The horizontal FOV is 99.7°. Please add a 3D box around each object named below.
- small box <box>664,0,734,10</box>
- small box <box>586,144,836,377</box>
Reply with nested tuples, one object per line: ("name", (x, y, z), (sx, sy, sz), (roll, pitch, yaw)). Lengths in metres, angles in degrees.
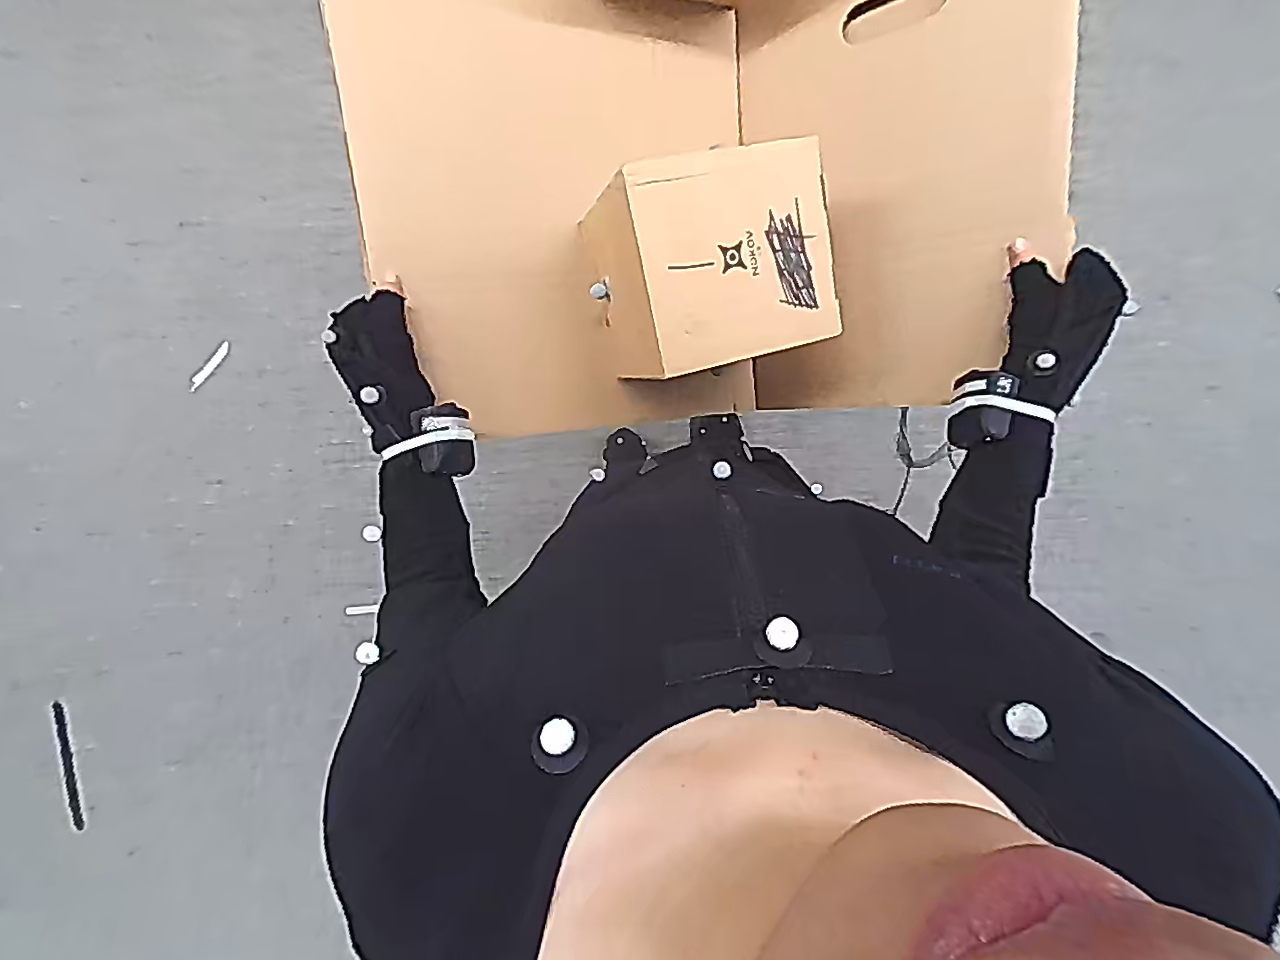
("small box", (0.040, -0.555, 0.463), (0.179, 0.176, 0.168), (-5, 101, -17))
("small box", (0.061, -0.202, 0.533), (0.179, 0.176, 0.168), (-16, 104, -13))
